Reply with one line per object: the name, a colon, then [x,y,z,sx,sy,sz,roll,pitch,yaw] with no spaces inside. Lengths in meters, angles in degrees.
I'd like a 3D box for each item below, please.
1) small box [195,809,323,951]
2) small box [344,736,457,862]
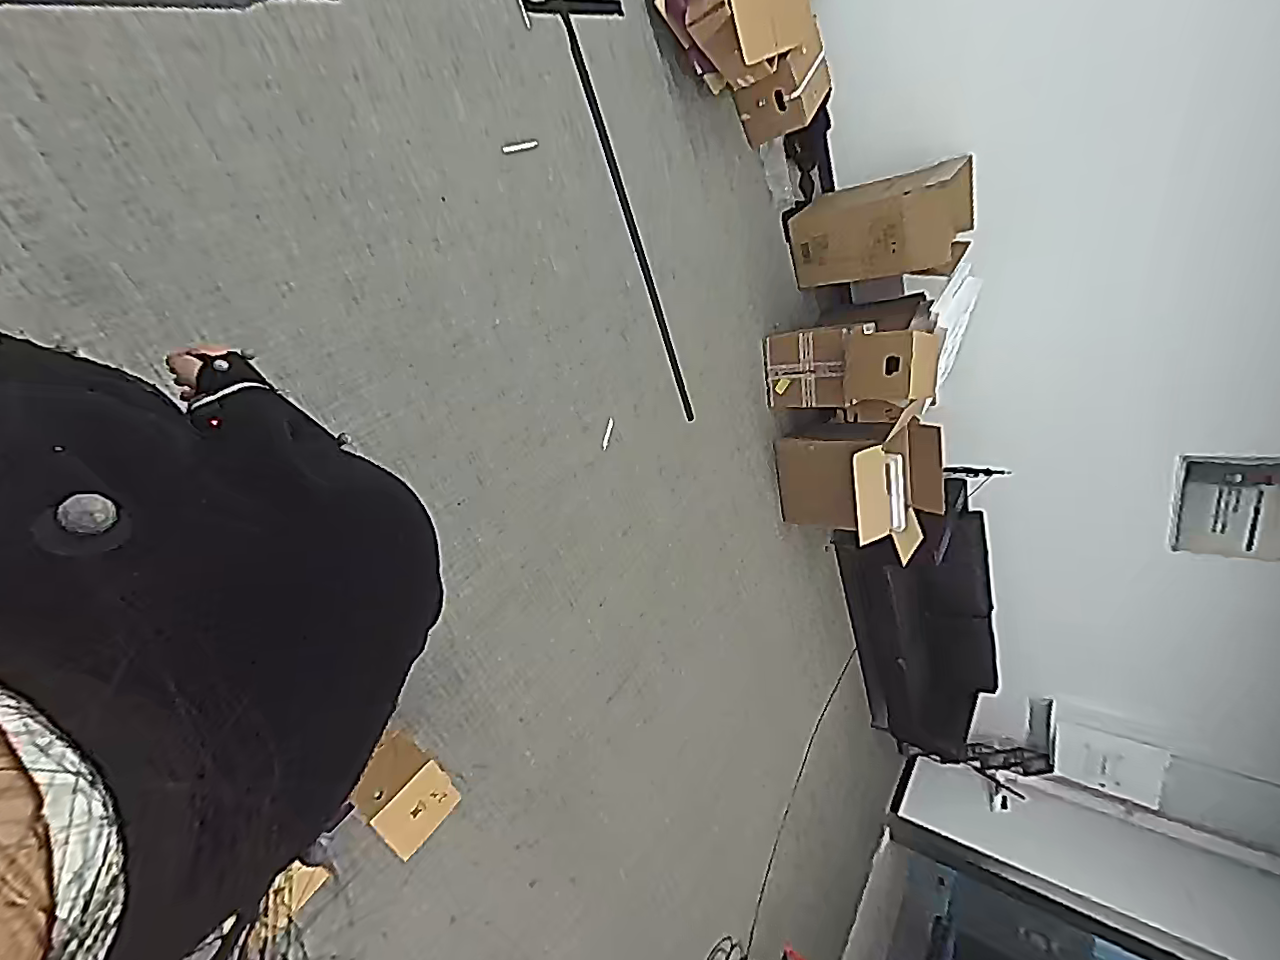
small box: [-0.892,0.924,1.262,0.179,0.176,0.168,-44,124,-39]
small box: [-0.597,0.777,1.334,0.179,0.176,0.168,-42,124,-38]
